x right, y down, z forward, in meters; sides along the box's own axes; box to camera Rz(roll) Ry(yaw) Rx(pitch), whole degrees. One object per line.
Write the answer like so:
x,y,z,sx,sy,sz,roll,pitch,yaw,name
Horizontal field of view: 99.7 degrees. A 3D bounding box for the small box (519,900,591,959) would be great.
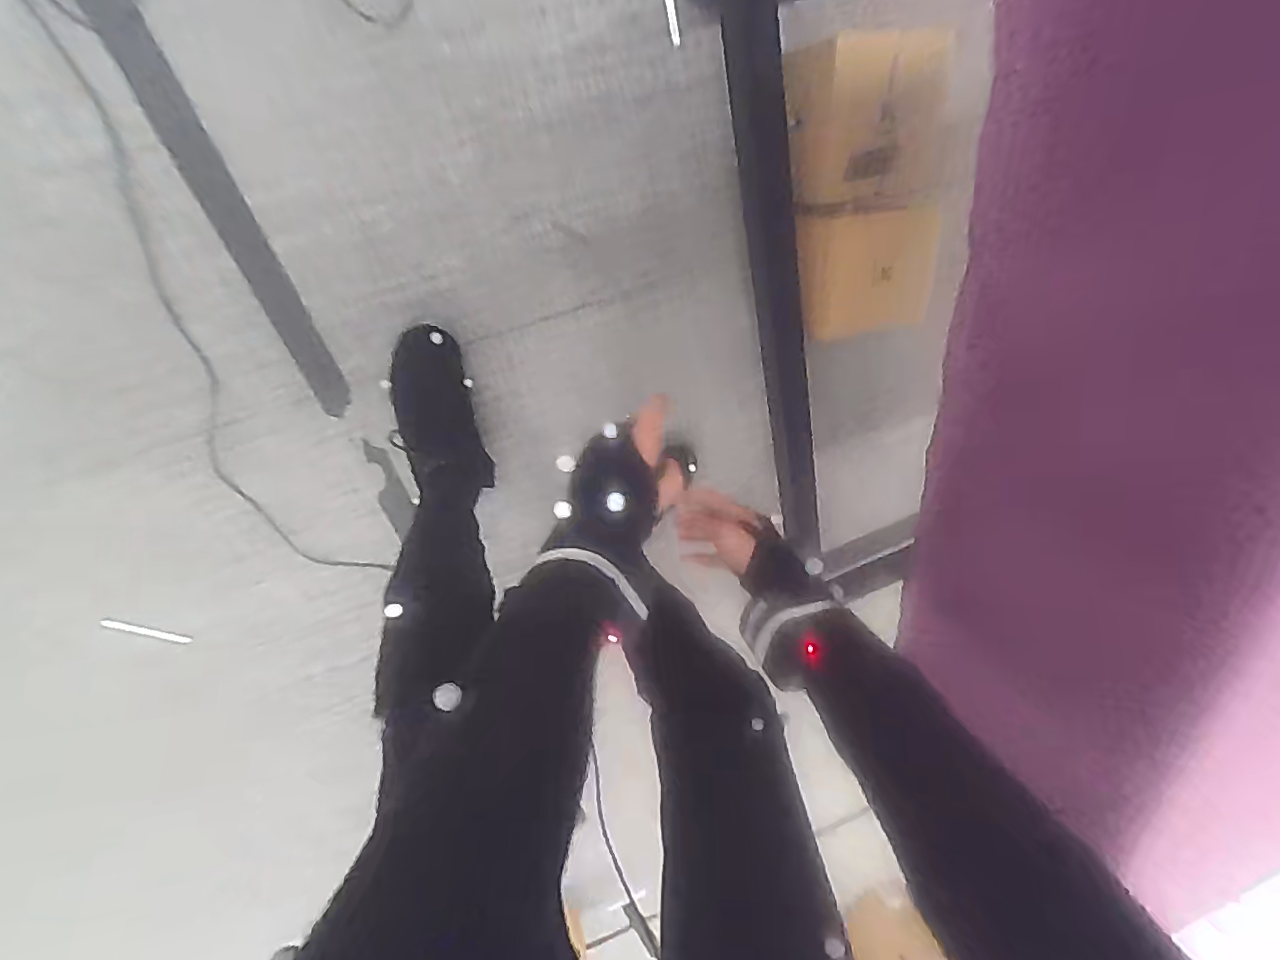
-0.252,1.408,1.620,0.168,0.176,0.179,-23,122,-5,small box
